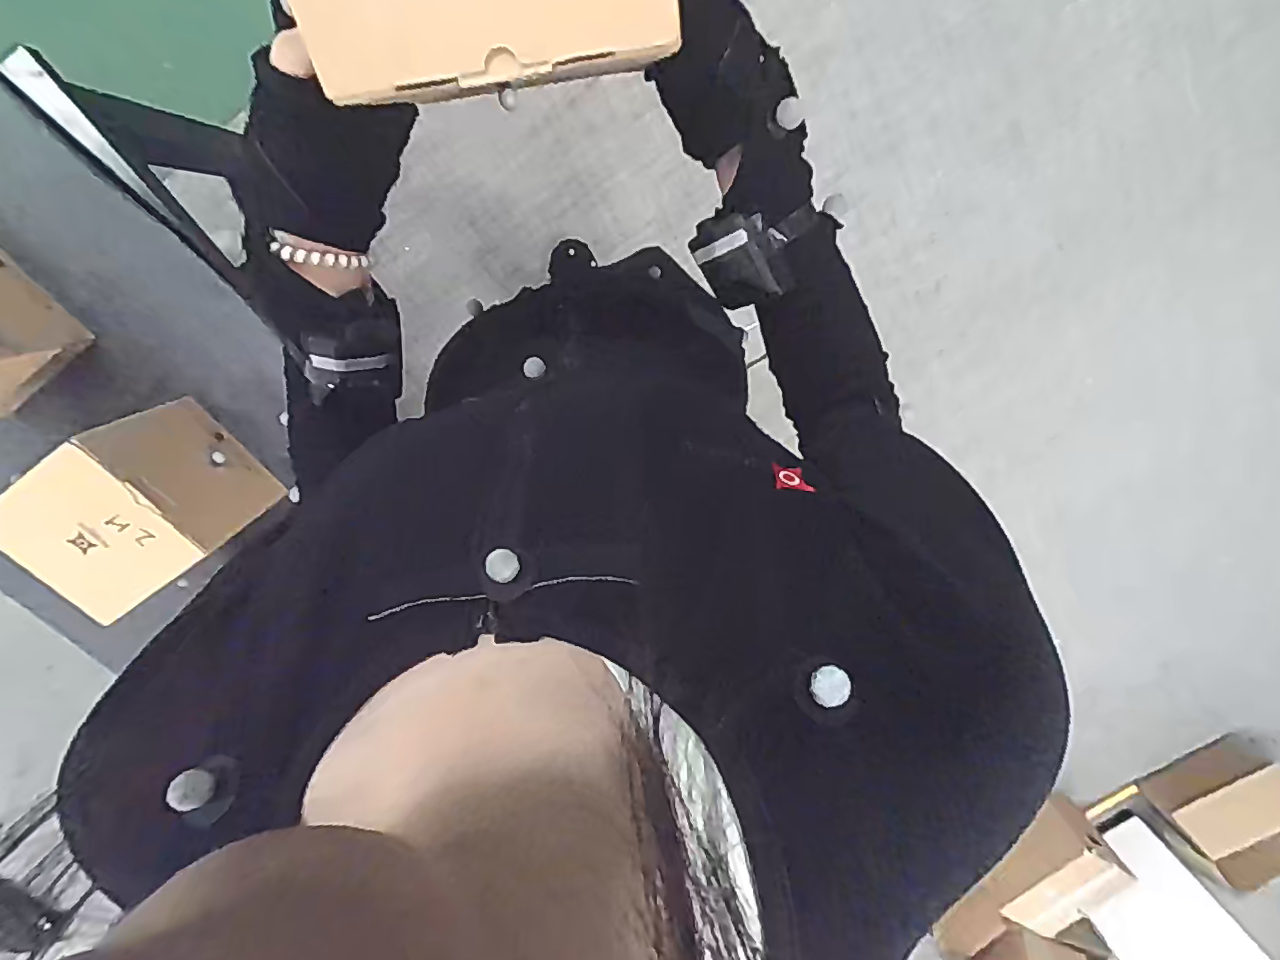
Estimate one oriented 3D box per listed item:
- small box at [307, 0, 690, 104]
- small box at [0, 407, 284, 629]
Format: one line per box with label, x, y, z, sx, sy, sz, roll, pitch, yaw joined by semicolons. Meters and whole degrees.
small box;-0.076;-0.302;0.266;0.168;0.176;0.179;-10;127;0
small box;-0.589;0.038;0.656;0.179;0.176;0.168;-32;112;11
